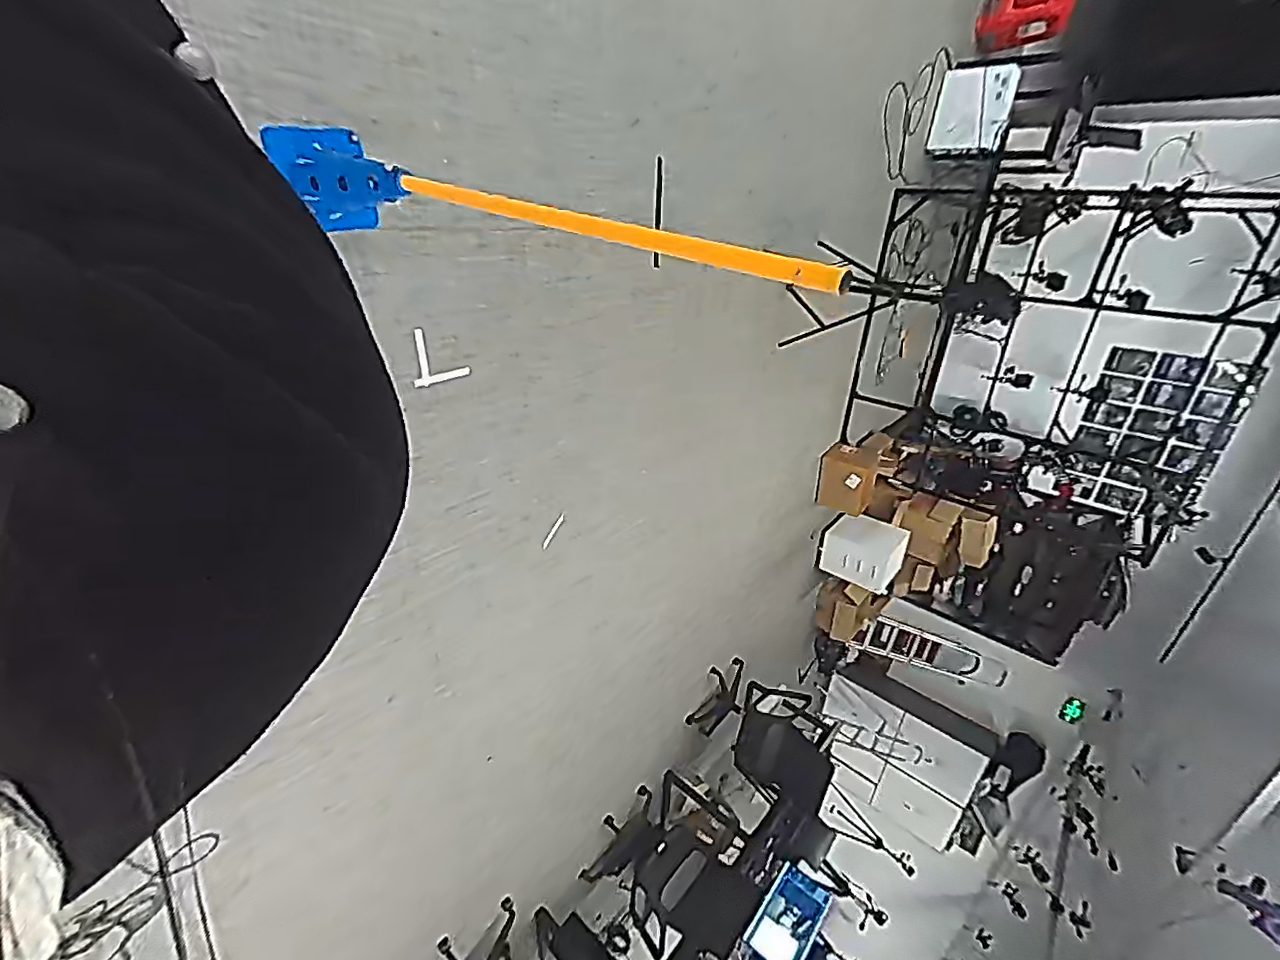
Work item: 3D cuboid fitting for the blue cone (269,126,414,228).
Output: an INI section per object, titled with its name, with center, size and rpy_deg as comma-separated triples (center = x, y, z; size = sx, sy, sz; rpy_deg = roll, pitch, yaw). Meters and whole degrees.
[blue cone]
center = -0.563, -0.612, 1.091
size = 0.193, 0.380, 0.192
rpy_deg = -29, 130, -41
